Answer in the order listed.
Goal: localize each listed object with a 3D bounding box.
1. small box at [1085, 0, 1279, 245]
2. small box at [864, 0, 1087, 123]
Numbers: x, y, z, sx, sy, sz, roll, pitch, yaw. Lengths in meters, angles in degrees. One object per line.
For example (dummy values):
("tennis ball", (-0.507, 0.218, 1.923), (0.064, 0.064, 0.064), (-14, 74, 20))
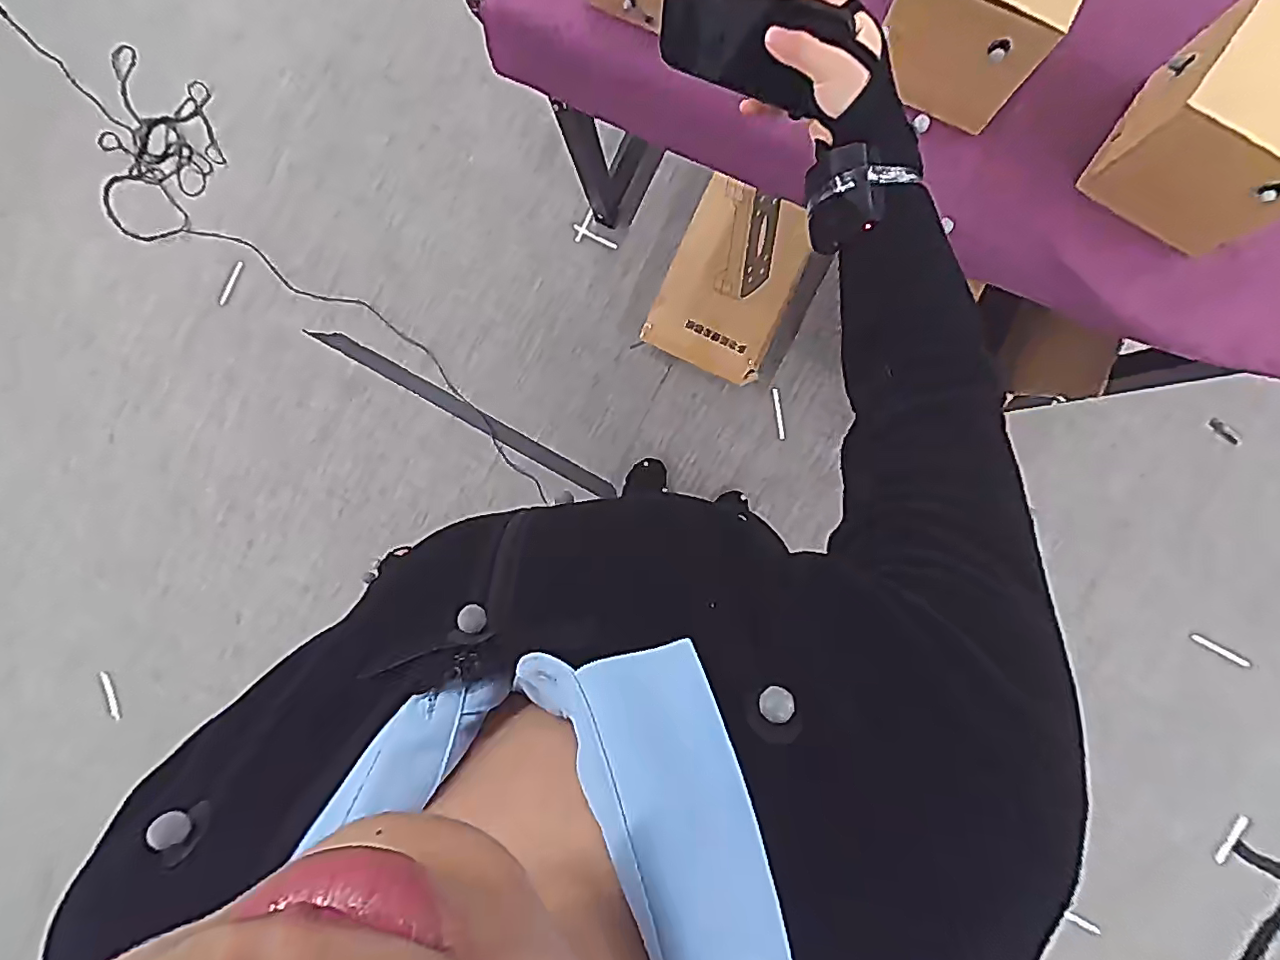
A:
("small box", (0.671, -0.400, 0.608), (0.179, 0.176, 0.168), (33, 94, 3))
("small box", (0.397, -0.561, 0.625), (0.179, 0.176, 0.168), (26, 92, 4))
